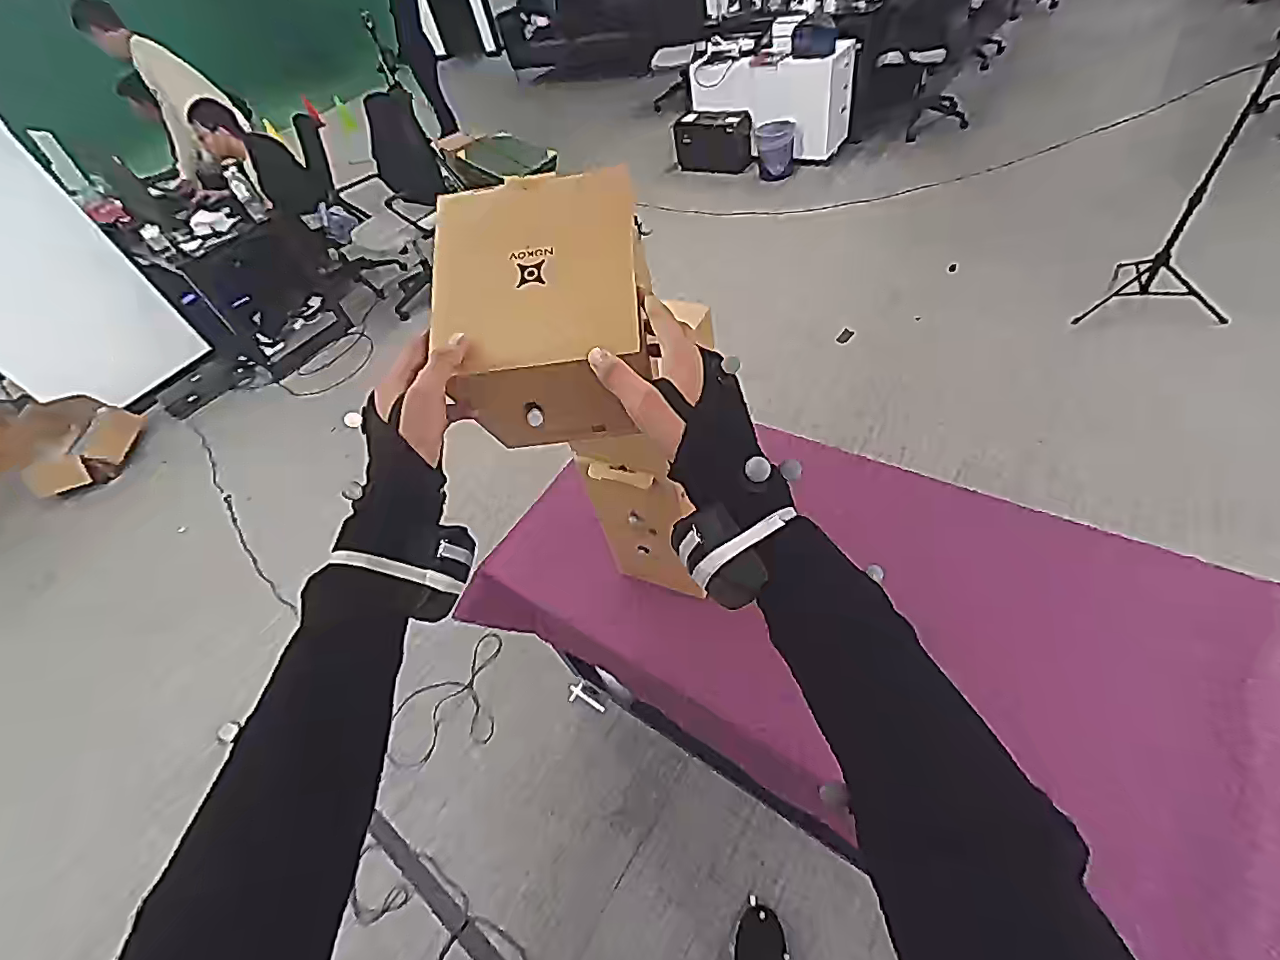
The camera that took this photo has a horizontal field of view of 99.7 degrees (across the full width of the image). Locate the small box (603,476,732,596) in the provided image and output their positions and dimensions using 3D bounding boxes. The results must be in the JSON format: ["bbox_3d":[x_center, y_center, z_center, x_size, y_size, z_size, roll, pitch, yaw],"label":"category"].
[{"bbox_3d":[0.059,0.090,0.994,0.179,0.176,0.168,14,55,23],"label":"small box"}]

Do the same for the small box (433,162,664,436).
[{"bbox_3d":[-0.071,-0.148,0.503,0.168,0.176,0.179,-5,73,7],"label":"small box"}]

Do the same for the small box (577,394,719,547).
[{"bbox_3d":[0.025,-0.022,0.878,0.168,0.176,0.179,12,54,23],"label":"small box"}]
